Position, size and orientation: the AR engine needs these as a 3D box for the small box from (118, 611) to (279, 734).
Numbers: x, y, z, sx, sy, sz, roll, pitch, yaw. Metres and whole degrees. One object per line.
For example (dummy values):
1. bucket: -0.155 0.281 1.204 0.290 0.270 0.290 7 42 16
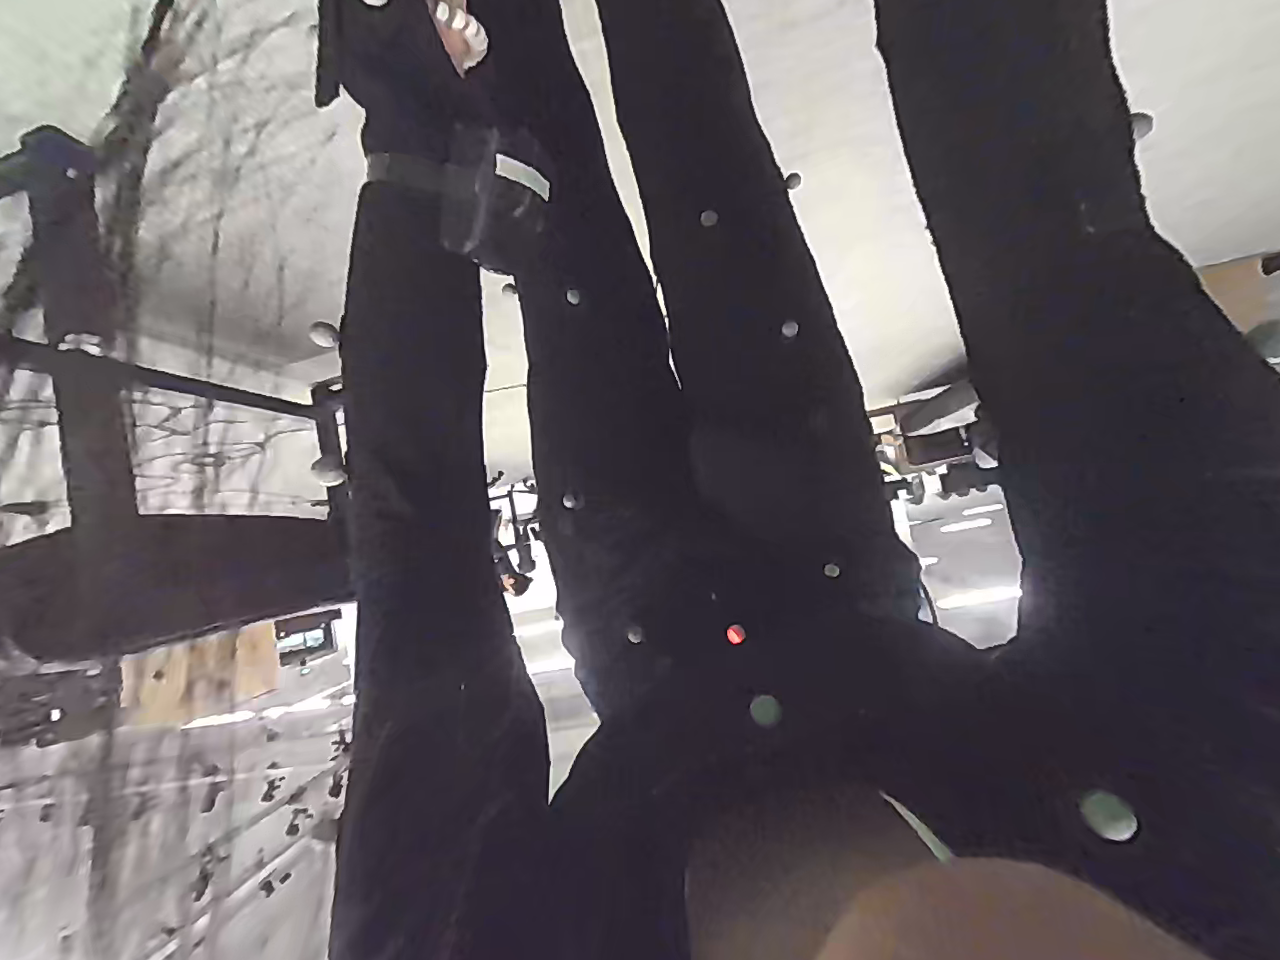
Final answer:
1. small box: -0.846 0.361 1.040 0.168 0.176 0.179 -12 176 11
